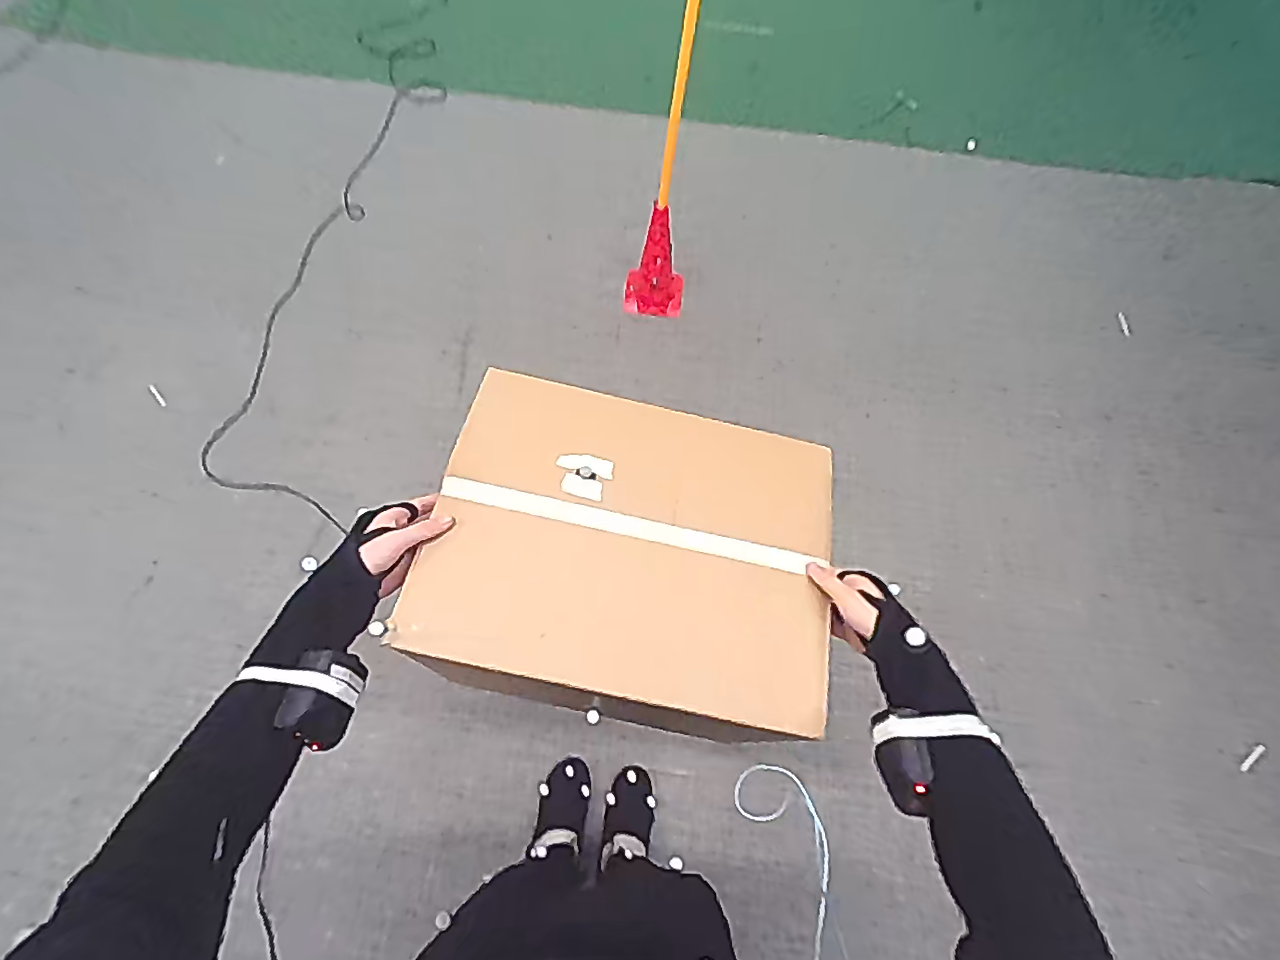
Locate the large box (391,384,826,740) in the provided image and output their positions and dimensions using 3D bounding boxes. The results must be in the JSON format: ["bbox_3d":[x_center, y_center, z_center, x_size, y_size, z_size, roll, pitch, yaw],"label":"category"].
[{"bbox_3d":[-0.020,0.128,0.689,0.408,0.320,0.320,13,62,-1],"label":"large box"}]
